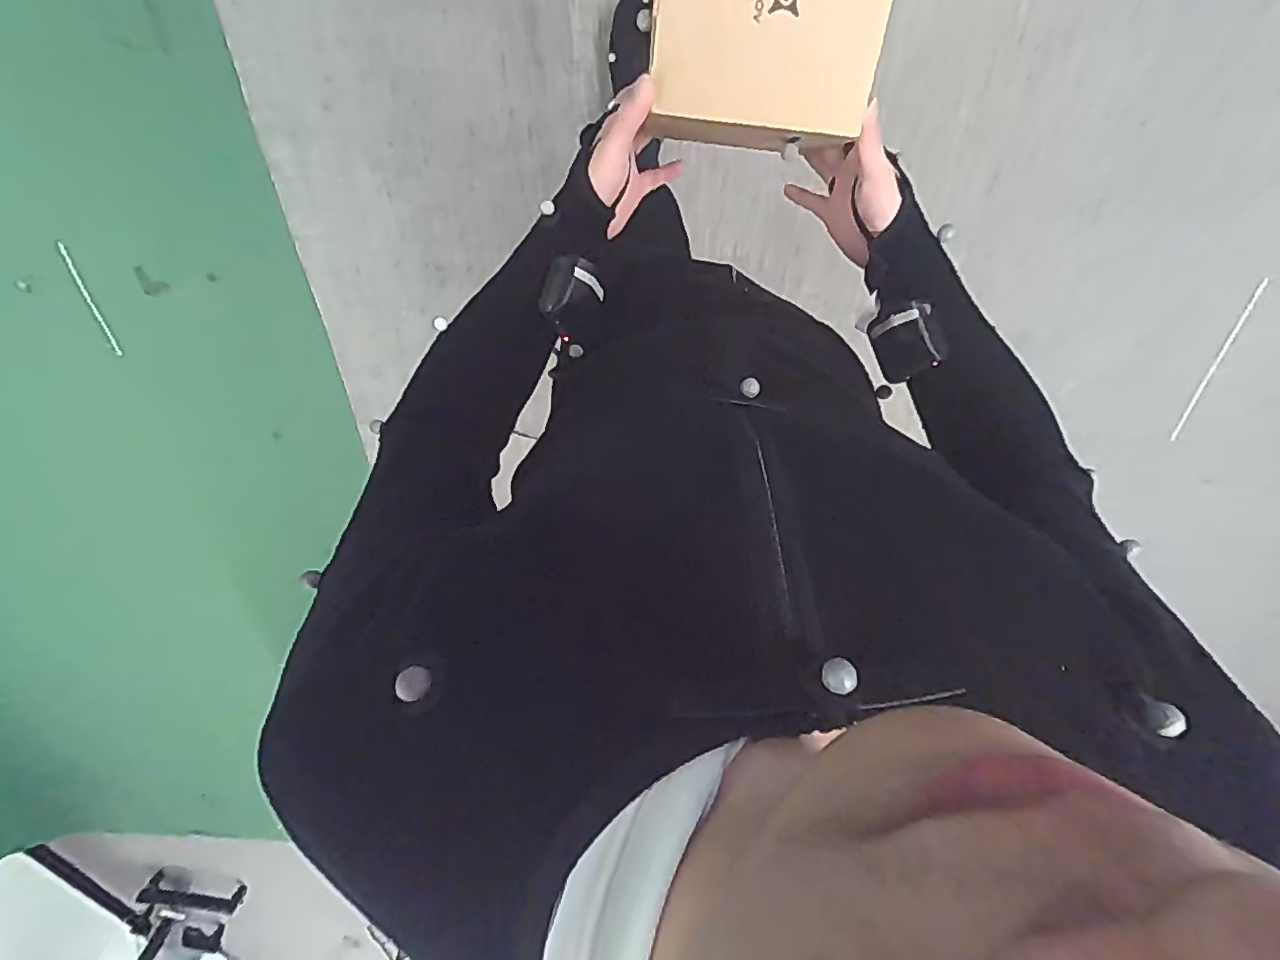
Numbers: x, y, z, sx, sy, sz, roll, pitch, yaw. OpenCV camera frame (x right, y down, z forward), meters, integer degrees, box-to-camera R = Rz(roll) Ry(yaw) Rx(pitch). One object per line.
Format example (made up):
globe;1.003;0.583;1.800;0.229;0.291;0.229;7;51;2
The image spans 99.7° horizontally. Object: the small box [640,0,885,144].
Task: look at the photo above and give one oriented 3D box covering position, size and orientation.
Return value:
small box;0.097;-0.400;0.467;0.179;0.176;0.168;6;117;-2
